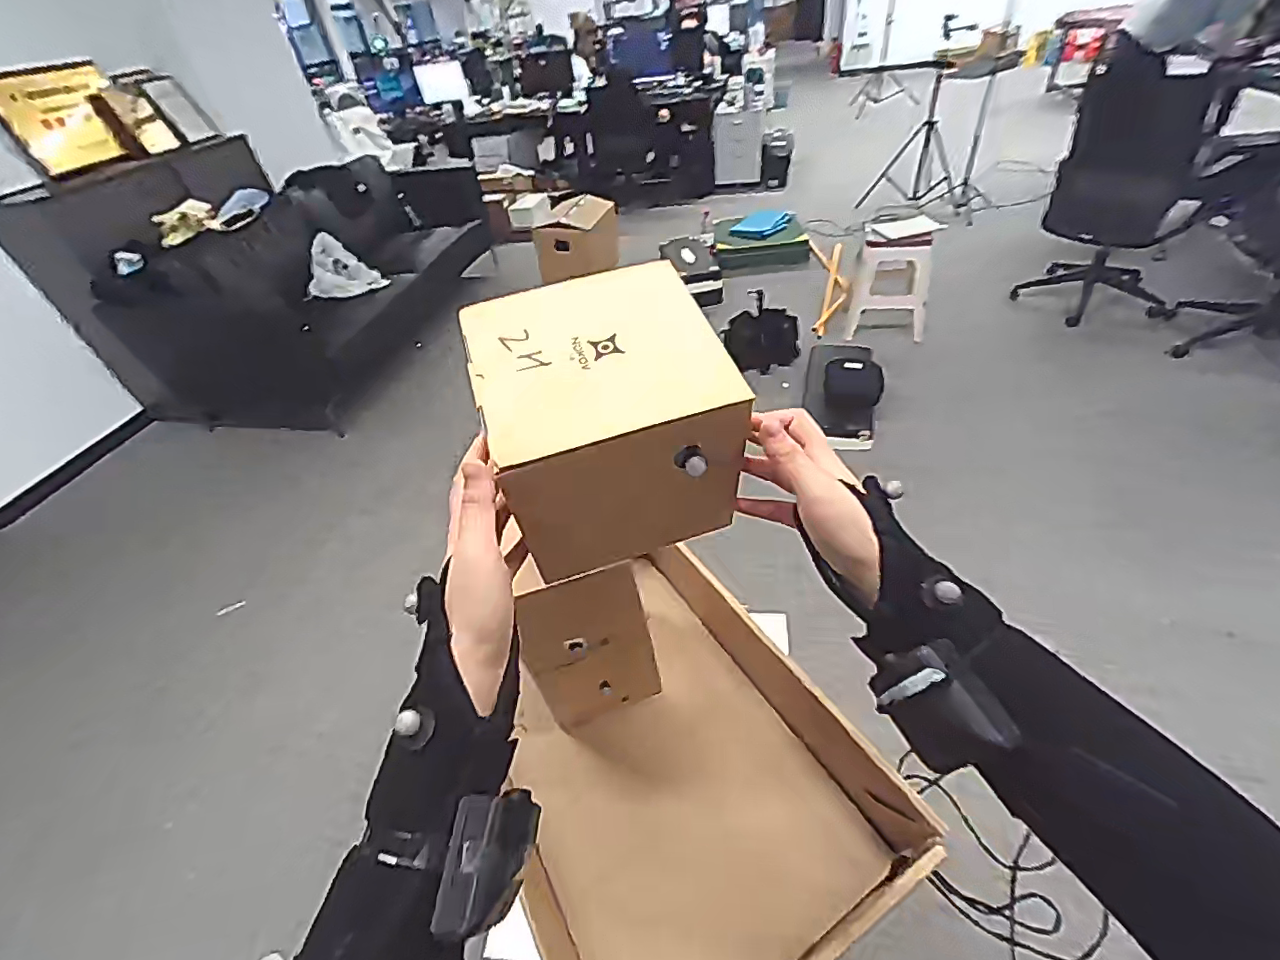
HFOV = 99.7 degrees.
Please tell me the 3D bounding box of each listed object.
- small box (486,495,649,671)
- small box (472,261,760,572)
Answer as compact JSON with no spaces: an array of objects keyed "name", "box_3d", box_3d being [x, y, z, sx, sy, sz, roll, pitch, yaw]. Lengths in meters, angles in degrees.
[{"name":"small box","box_3d":[-0.096,0.120,0.723,0.168,0.176,0.179,-18,43,-5]},{"name":"small box","box_3d":[-0.022,-0.047,0.454,0.179,0.176,0.168,-16,57,-7]}]
